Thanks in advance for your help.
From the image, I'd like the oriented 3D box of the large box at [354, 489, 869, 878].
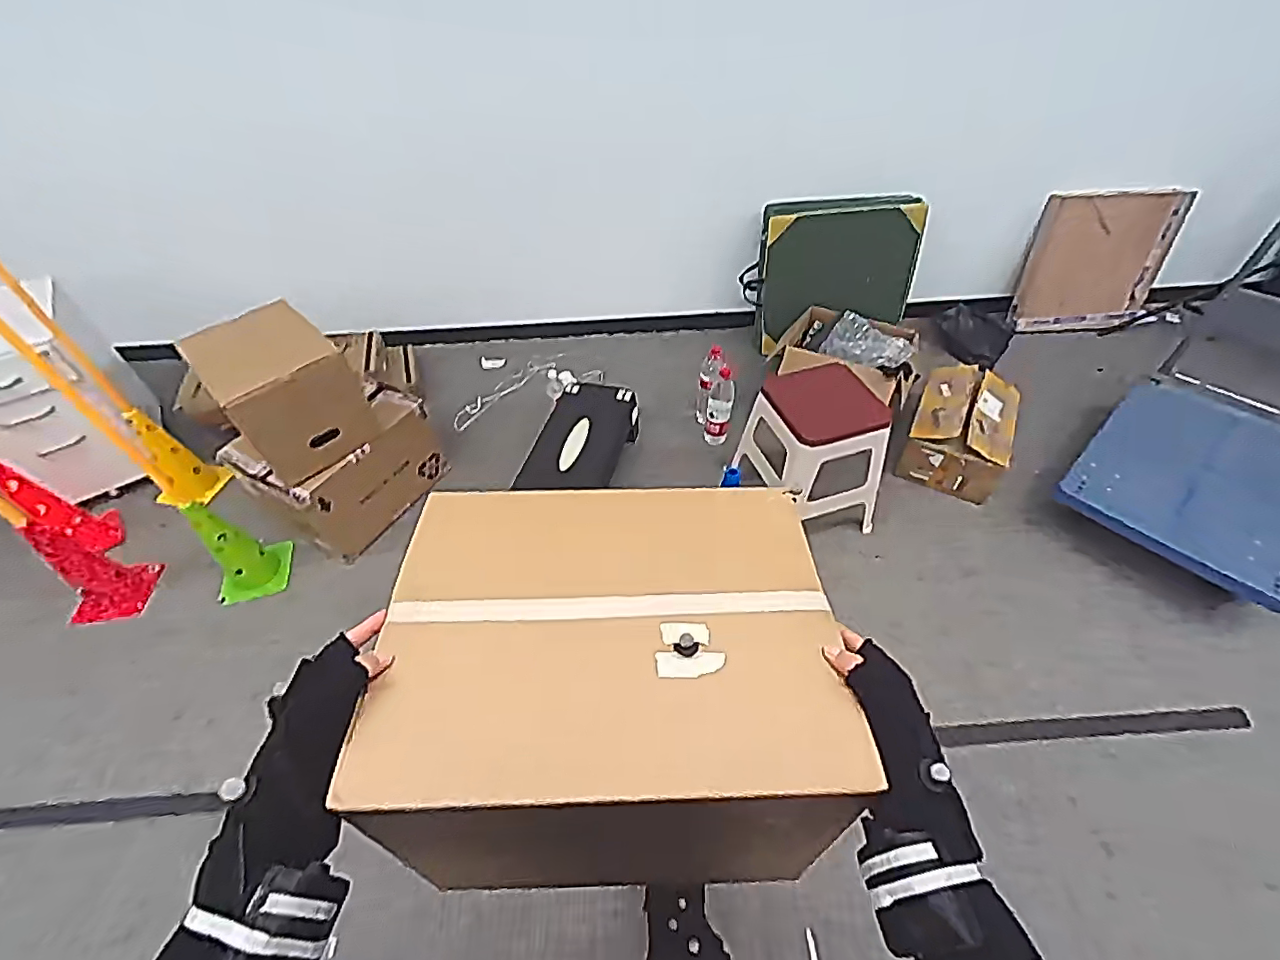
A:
[{"bbox_3d":[-0.027,0.227,0.618,0.408,0.320,0.320,-1,44,-2],"label":"large box"}]
